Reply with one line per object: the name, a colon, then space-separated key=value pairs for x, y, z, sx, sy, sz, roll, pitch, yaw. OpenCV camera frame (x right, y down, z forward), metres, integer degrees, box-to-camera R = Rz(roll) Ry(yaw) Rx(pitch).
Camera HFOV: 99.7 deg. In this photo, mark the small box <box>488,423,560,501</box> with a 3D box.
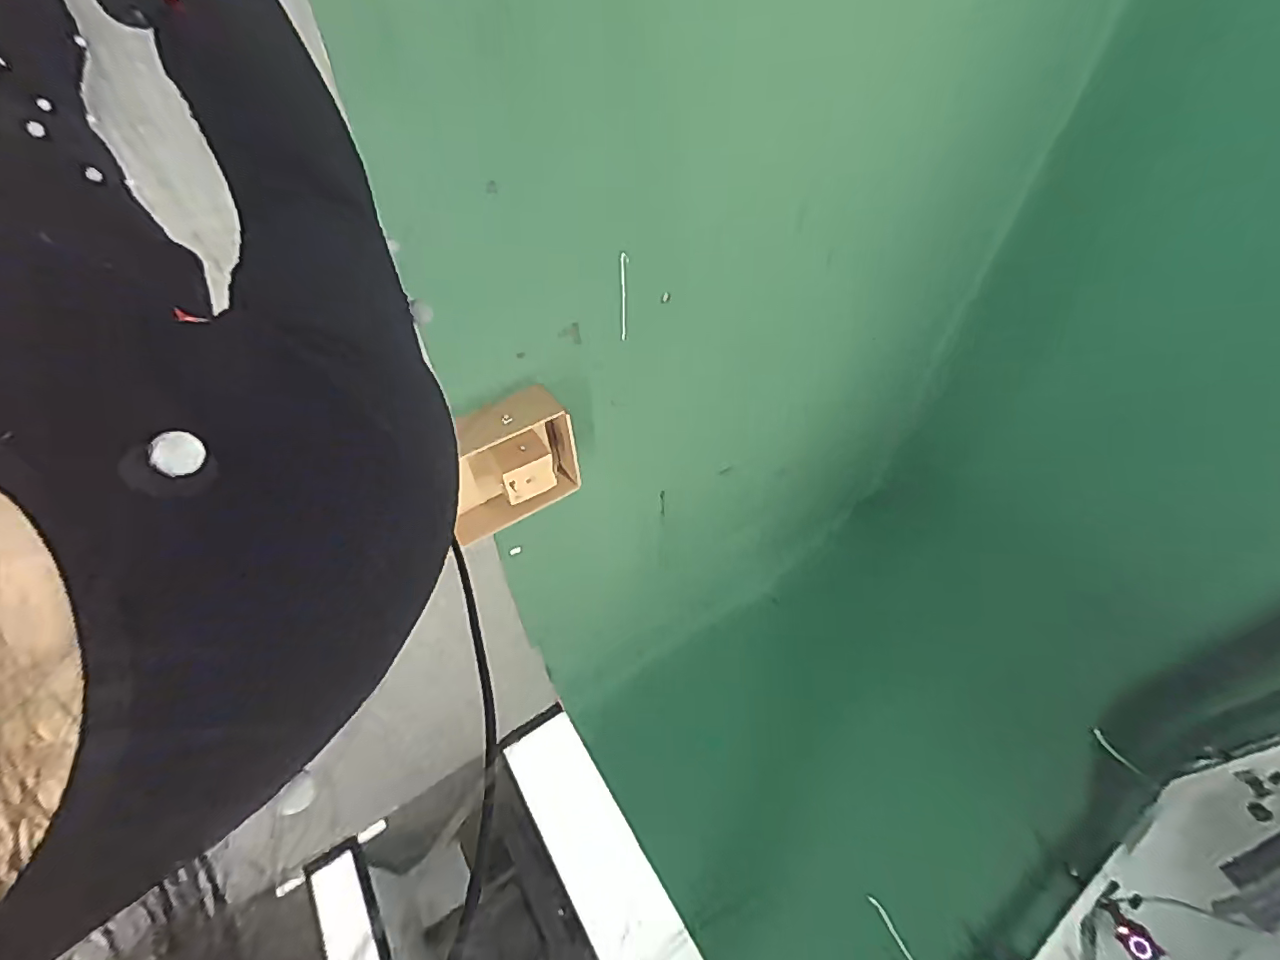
small box: x=-0.393 y=-0.066 z=1.837 sx=0.179 sy=0.176 sz=0.168 roll=-26 pitch=145 yaw=-20
